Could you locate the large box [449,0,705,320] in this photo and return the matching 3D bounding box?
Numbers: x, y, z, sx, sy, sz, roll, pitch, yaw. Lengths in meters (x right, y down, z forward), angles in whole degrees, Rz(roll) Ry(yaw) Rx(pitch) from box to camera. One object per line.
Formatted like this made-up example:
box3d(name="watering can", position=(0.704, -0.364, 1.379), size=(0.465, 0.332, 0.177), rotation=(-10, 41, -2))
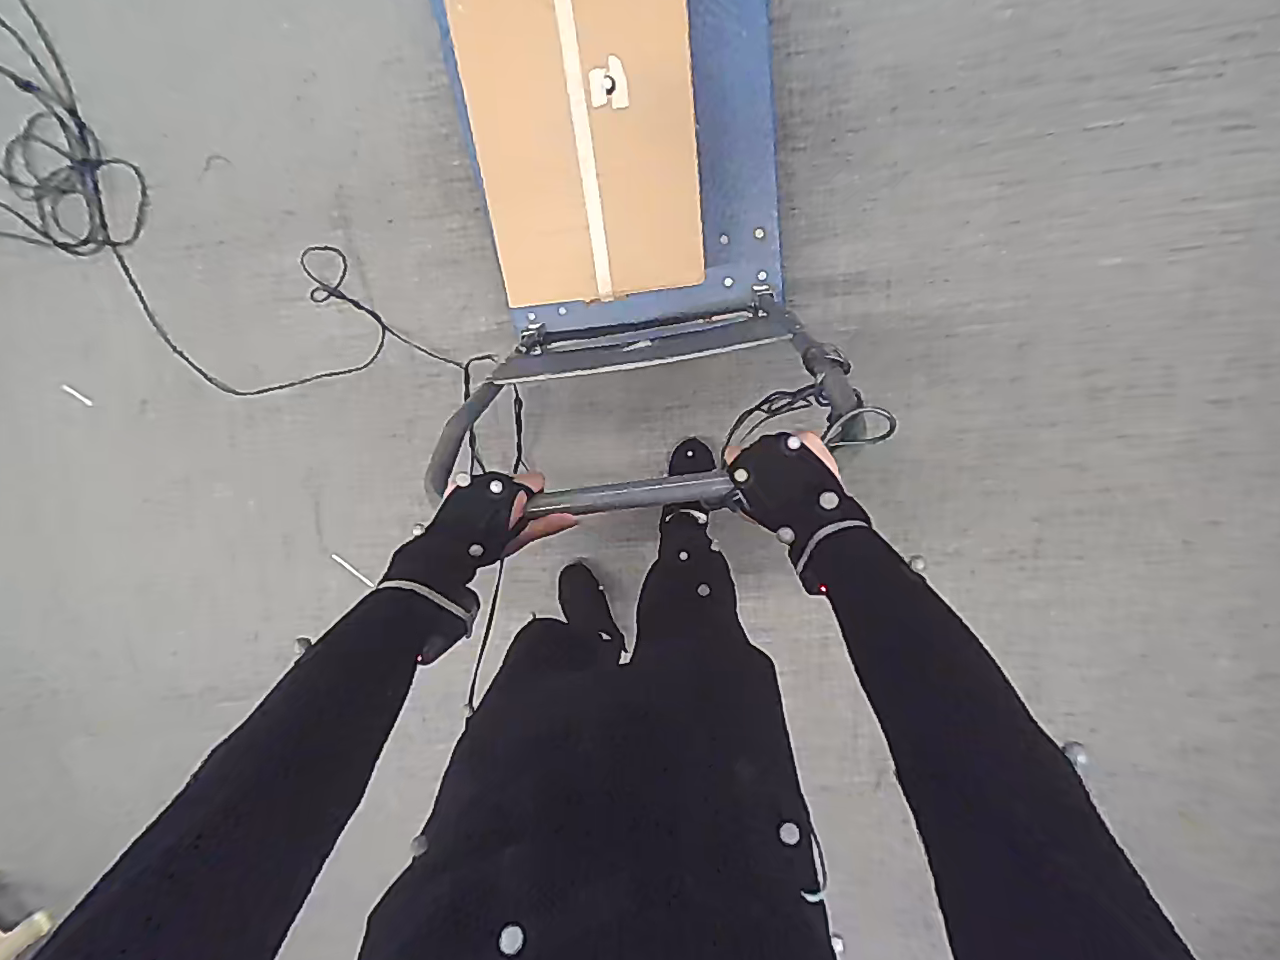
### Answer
box3d(name="large box", position=(-0.065, -0.508, 0.908), size=(0.320, 0.320, 0.408), rotation=(-5, 113, 6))
